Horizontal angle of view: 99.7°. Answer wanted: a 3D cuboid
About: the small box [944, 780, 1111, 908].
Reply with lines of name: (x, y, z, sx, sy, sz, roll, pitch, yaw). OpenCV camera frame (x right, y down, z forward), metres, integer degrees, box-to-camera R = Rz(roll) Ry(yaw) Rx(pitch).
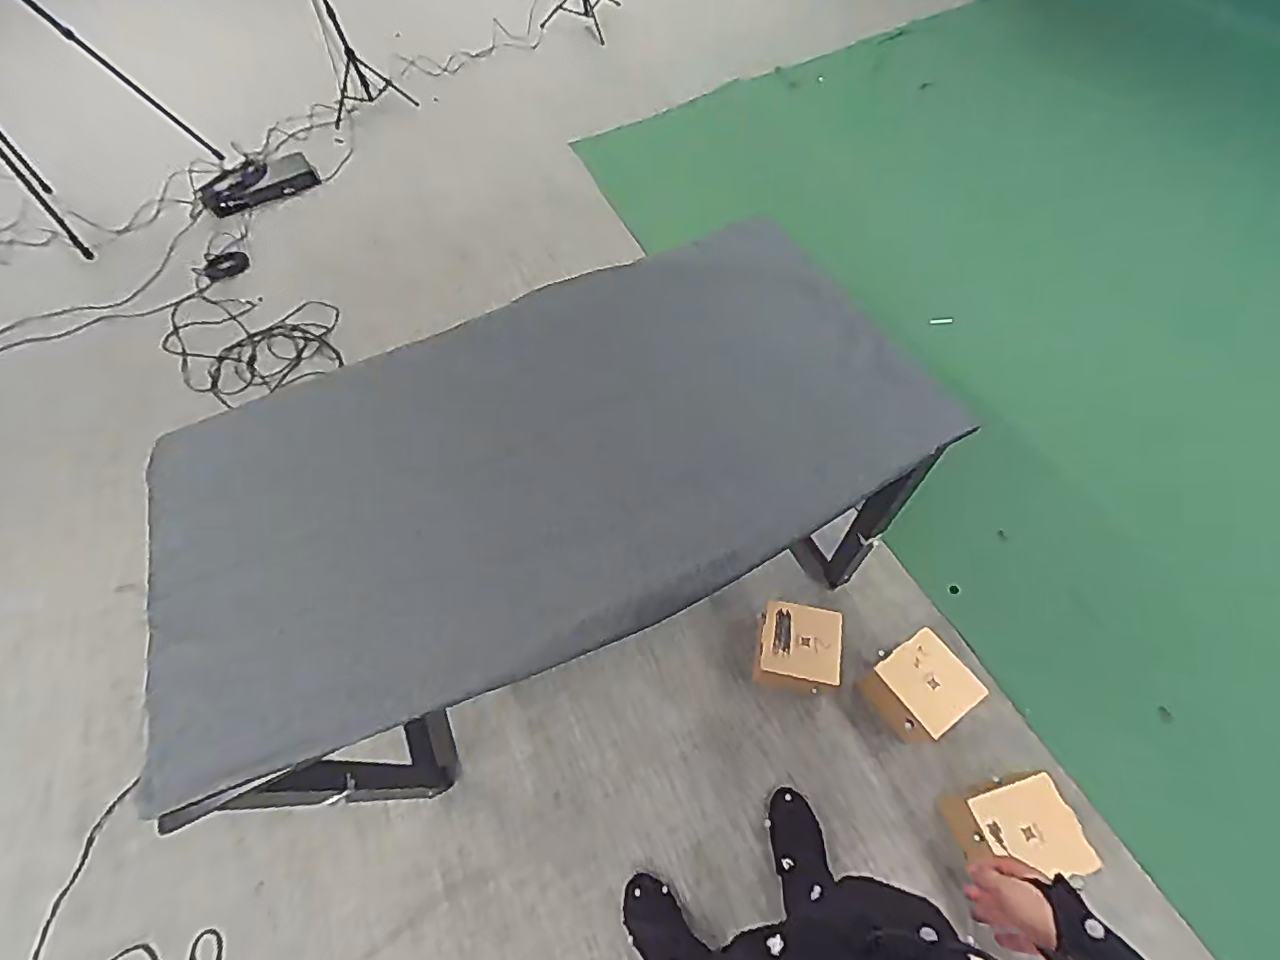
small box: (0.754, 0.712, 1.077, 0.179, 0.176, 0.168, -17, 61, -3)

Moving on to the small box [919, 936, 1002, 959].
small box: (0.609, 0.955, 0.956, 0.168, 0.176, 0.179, 8, 61, 11)

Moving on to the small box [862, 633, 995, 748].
small box: (0.639, 0.480, 1.222, 0.168, 0.176, 0.179, -32, 62, -12)
